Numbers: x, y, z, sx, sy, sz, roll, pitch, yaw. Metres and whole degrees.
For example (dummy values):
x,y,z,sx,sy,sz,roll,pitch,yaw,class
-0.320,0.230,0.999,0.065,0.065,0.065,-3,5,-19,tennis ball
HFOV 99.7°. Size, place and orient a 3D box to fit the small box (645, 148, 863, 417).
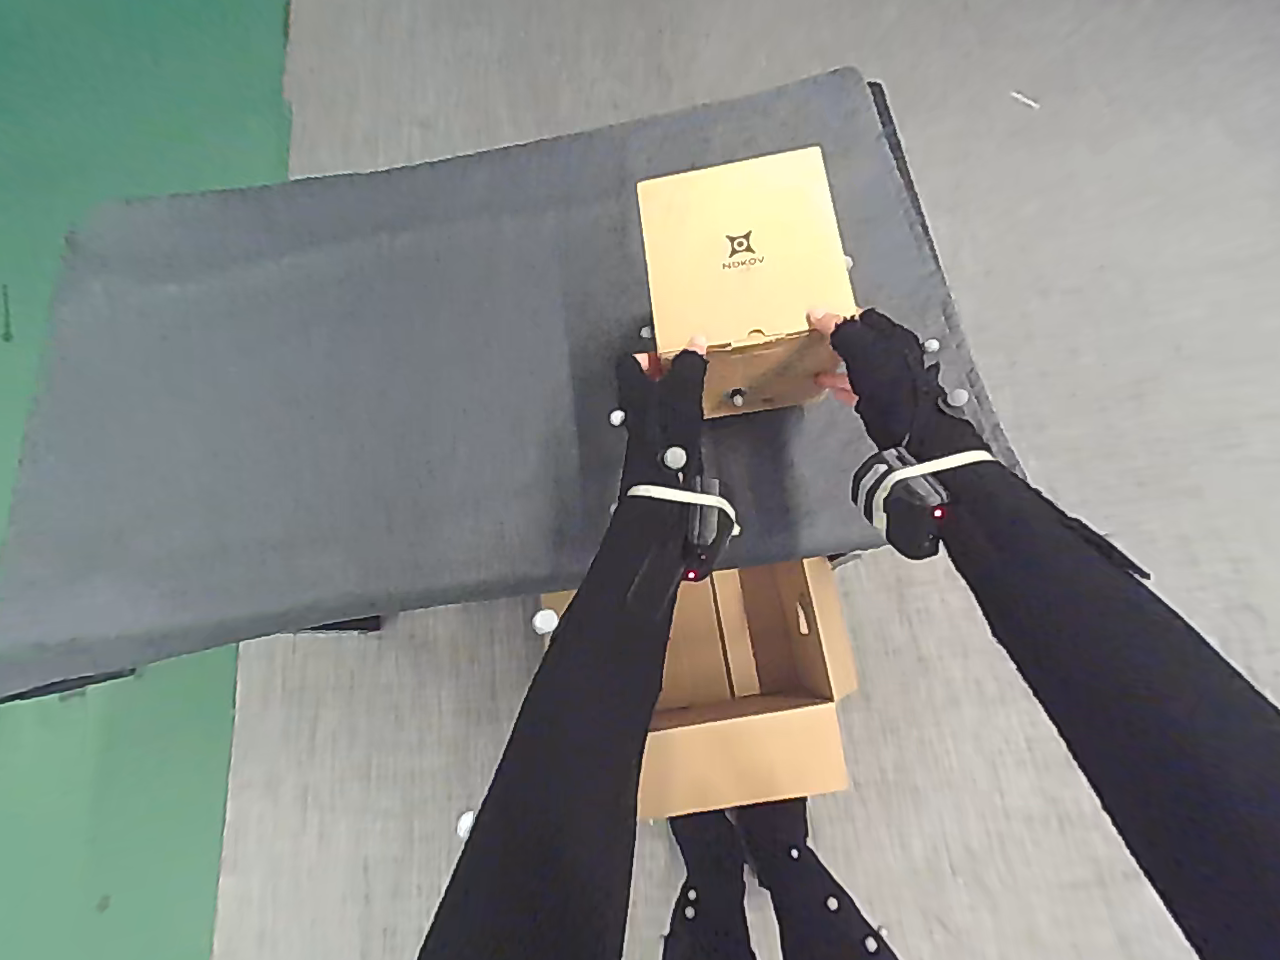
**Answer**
x,y,z,sx,sy,sz,roll,pitch,yaw,class
0.100,-0.180,0.537,0.168,0.176,0.179,-8,76,6,small box
